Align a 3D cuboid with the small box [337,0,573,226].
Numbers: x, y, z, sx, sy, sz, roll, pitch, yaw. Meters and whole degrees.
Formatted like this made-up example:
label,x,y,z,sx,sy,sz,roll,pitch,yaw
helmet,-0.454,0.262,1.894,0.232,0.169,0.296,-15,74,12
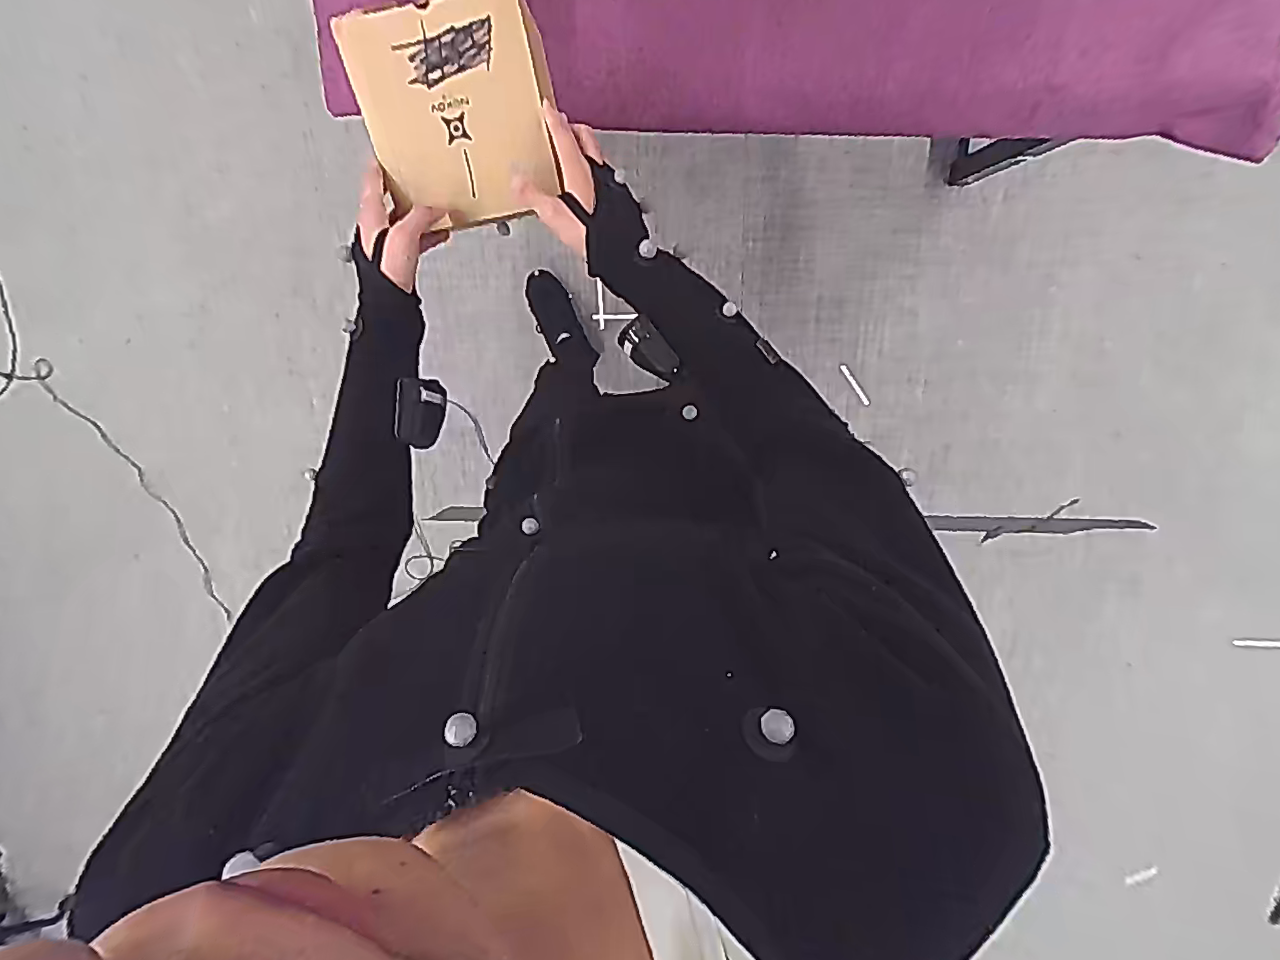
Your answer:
label,x,y,z,sx,sy,sz,roll,pitch,yaw
small box,-0.171,-0.375,0.567,0.168,0.176,0.179,-10,117,3
